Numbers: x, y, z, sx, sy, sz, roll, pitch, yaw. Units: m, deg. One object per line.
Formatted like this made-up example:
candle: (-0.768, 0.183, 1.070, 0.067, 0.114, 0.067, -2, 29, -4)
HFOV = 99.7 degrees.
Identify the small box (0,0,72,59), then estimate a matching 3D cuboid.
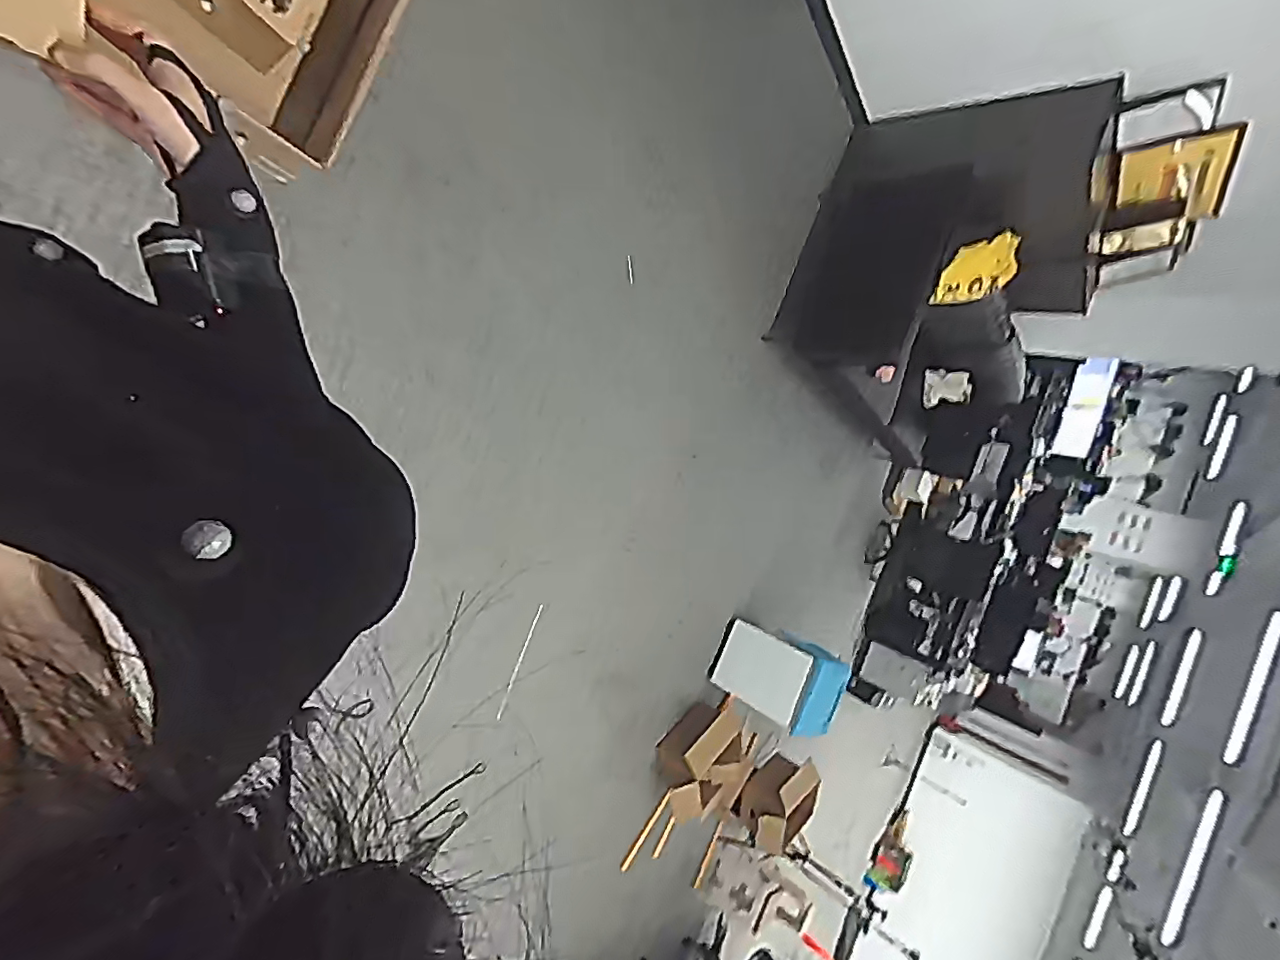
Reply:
small box: (-0.455, -0.390, 0.317, 0.168, 0.176, 0.179, 0, 116, -48)
